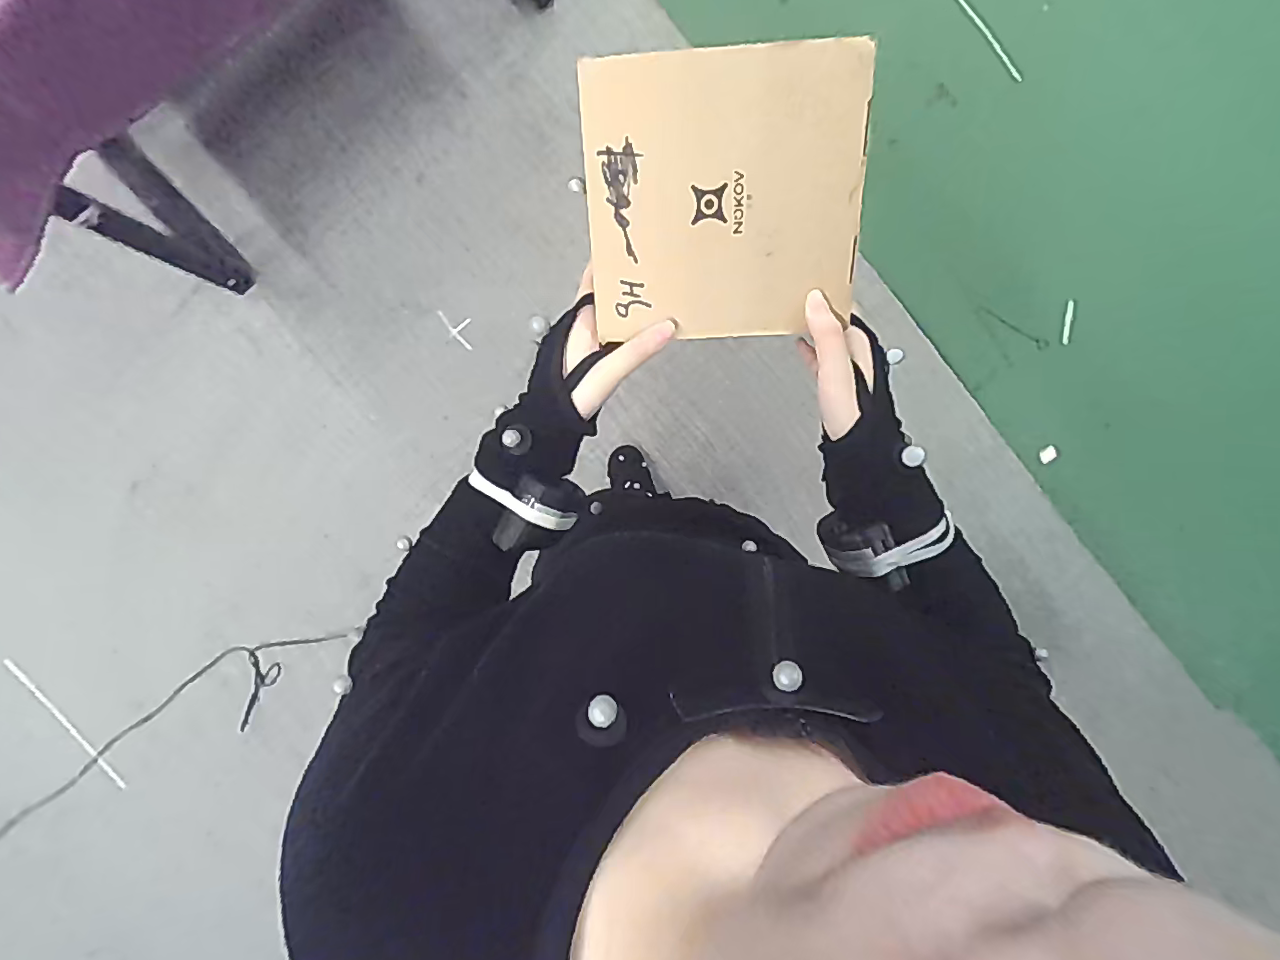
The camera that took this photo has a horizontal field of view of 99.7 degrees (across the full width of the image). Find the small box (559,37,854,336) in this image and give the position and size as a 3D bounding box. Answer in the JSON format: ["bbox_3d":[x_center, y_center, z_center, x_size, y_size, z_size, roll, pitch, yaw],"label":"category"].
[{"bbox_3d":[0.043,-0.208,0.418,0.179,0.176,0.168,-2,111,3],"label":"small box"}]

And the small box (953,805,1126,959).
[{"bbox_3d":[0.613,0.626,0.804,0.168,0.176,0.179,-32,92,2],"label":"small box"}]
